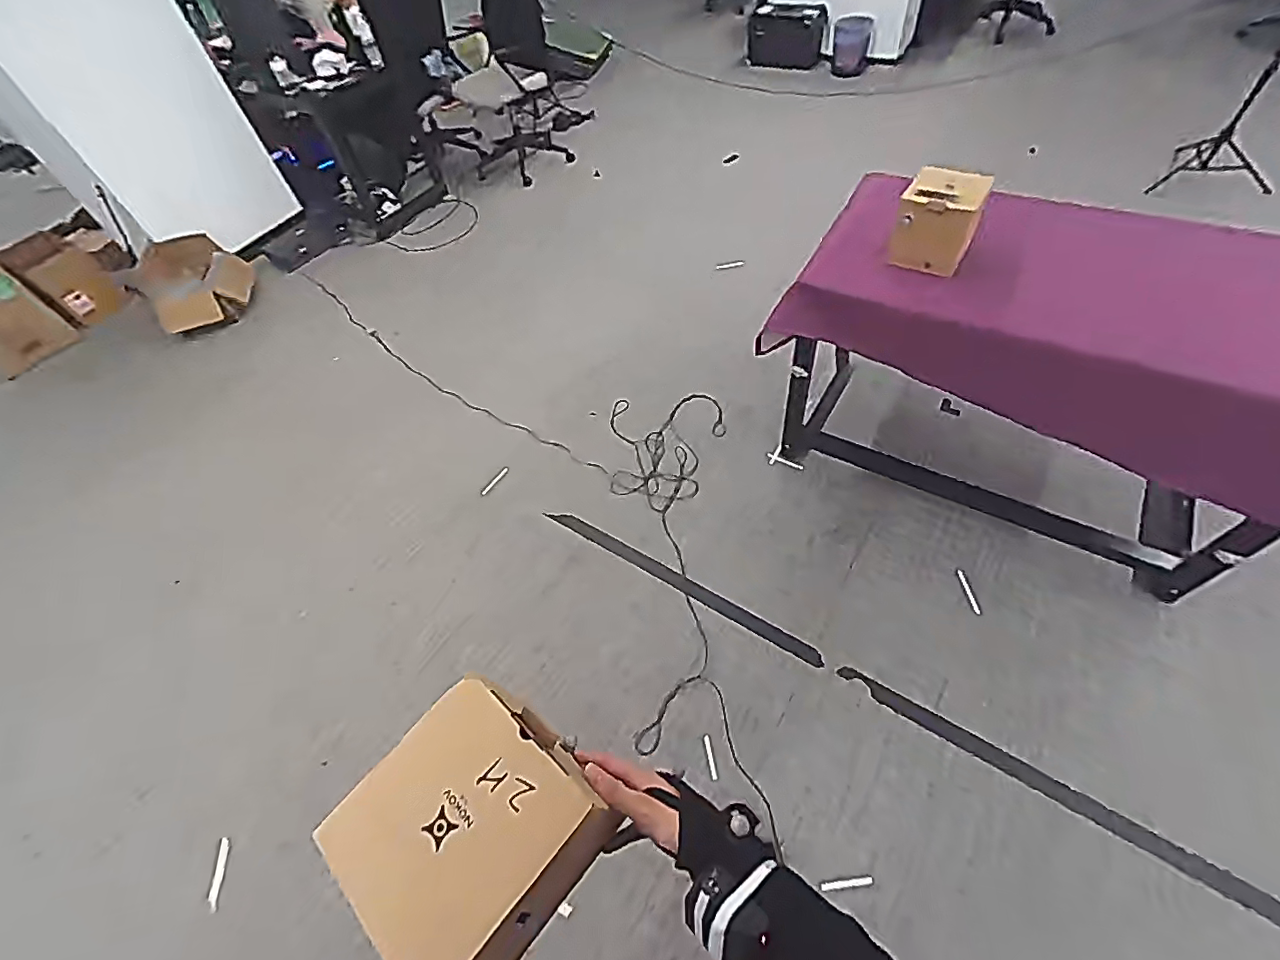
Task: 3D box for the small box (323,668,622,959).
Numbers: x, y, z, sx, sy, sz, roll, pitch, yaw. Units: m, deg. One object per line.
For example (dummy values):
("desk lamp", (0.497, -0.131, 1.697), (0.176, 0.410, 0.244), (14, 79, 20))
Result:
("small box", (-0.137, 0.315, 0.502), (0.168, 0.176, 0.179), (35, 68, 28))
